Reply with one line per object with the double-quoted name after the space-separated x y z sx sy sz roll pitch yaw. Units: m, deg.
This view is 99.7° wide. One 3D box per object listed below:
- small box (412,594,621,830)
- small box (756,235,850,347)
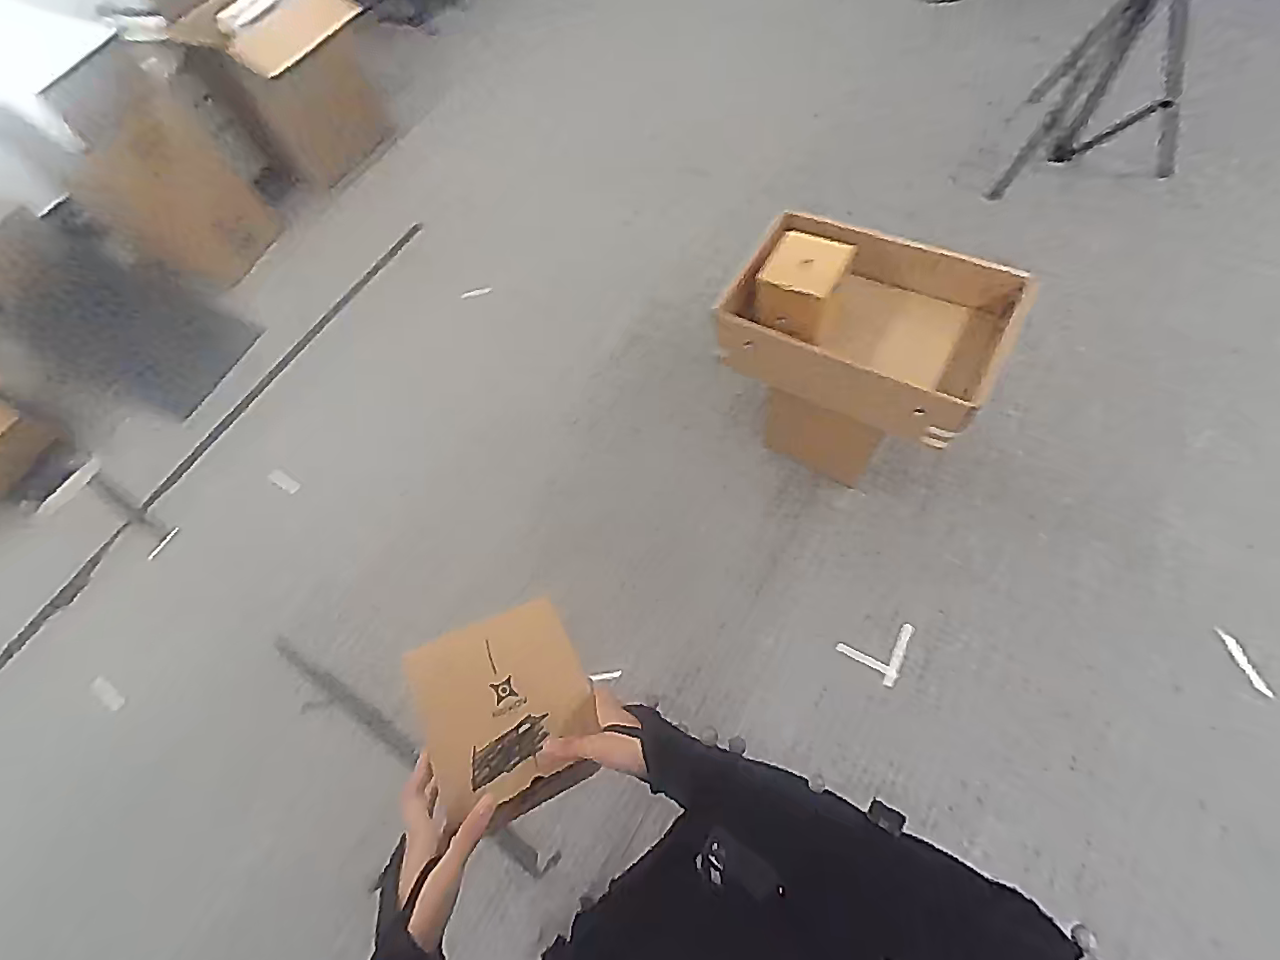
-0.138 0.262 0.604 0.168 0.176 0.179 -17 58 -24 "small box"
0.397 -0.469 1.350 0.168 0.176 0.179 25 71 20 "small box"
